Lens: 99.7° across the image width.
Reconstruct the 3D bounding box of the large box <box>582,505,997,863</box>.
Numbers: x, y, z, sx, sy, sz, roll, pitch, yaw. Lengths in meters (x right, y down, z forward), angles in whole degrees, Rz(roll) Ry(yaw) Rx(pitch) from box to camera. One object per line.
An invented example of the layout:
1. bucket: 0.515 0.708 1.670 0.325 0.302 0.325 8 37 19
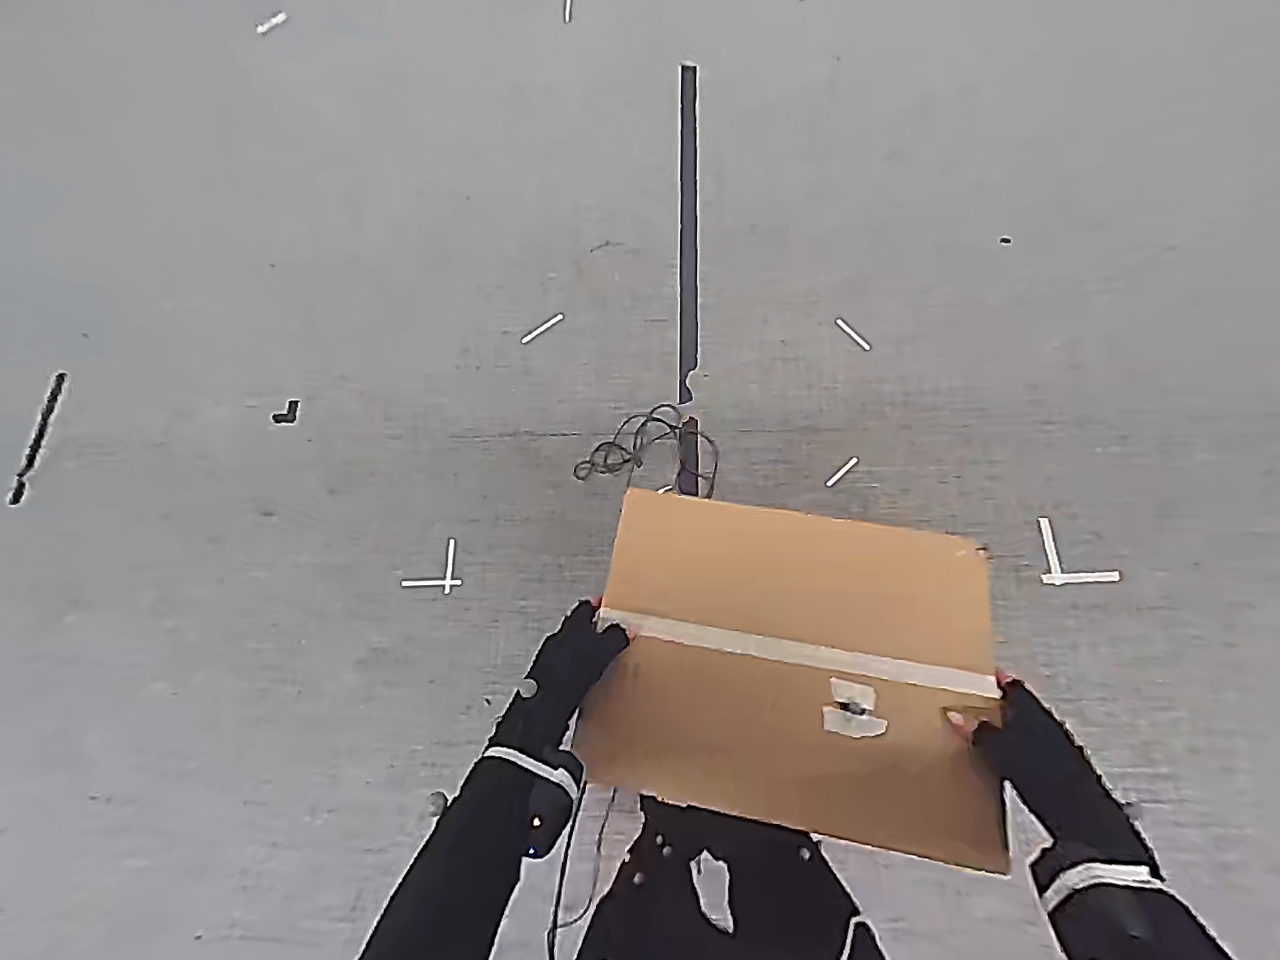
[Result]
1. large box: 0.169 0.254 0.716 0.408 0.320 0.320 8 66 8
